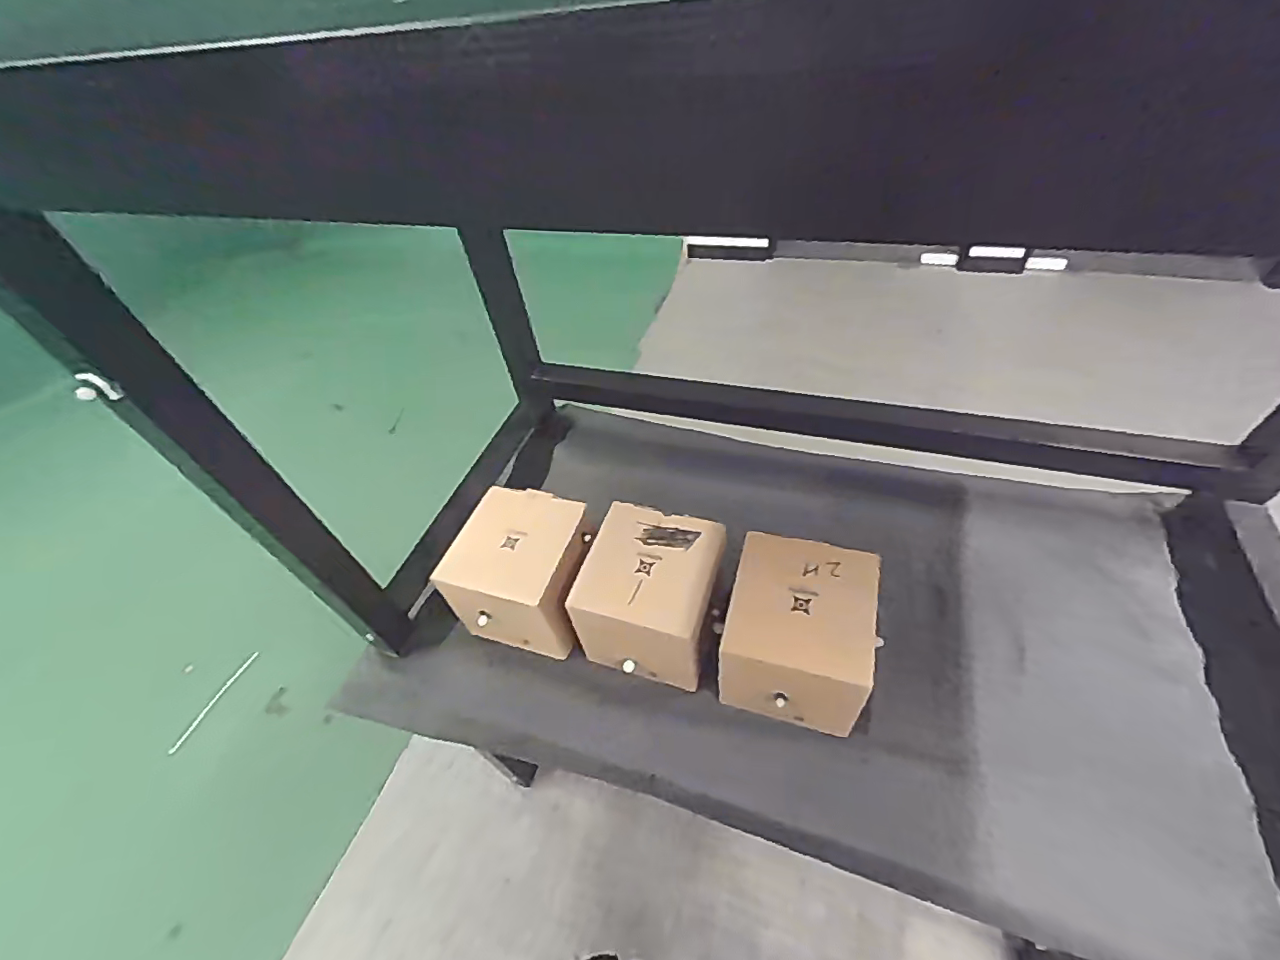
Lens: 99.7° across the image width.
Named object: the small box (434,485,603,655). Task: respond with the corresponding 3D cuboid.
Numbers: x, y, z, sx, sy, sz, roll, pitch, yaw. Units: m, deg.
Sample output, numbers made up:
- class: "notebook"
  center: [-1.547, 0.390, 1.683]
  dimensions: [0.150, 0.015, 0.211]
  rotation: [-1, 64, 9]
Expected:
- class: "small box"
  center: [-0.165, 0.137, 0.811]
  dimensions: [0.168, 0.176, 0.179]
  rotation: [10, 50, 17]
